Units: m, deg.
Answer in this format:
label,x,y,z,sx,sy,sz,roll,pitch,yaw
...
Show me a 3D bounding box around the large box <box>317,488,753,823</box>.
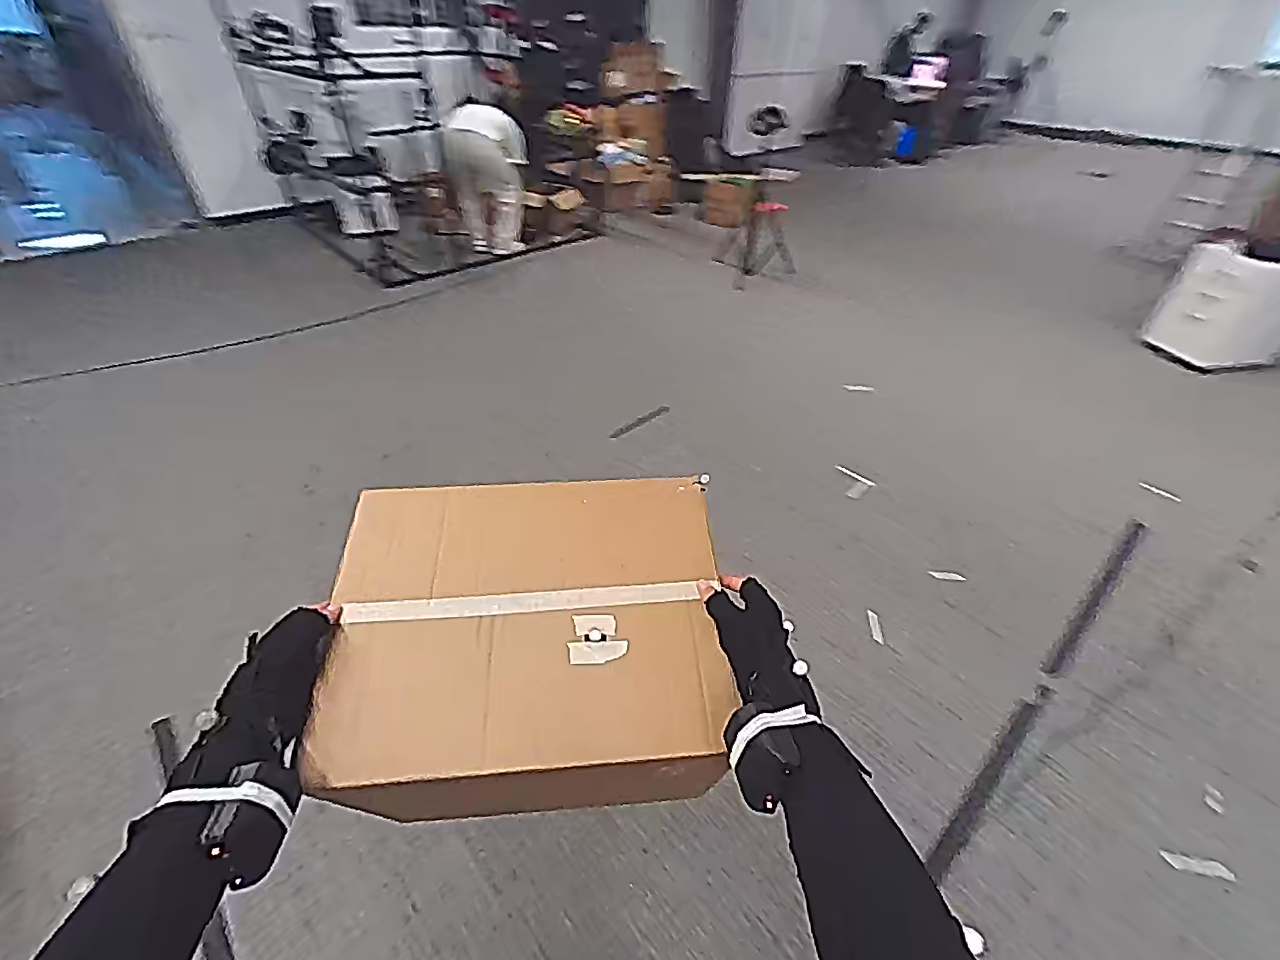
label,x,y,z,sx,sy,sz,roll,pitch,yaw
large box,-0.110,0.230,0.697,0.408,0.320,0.320,-2,53,-5
